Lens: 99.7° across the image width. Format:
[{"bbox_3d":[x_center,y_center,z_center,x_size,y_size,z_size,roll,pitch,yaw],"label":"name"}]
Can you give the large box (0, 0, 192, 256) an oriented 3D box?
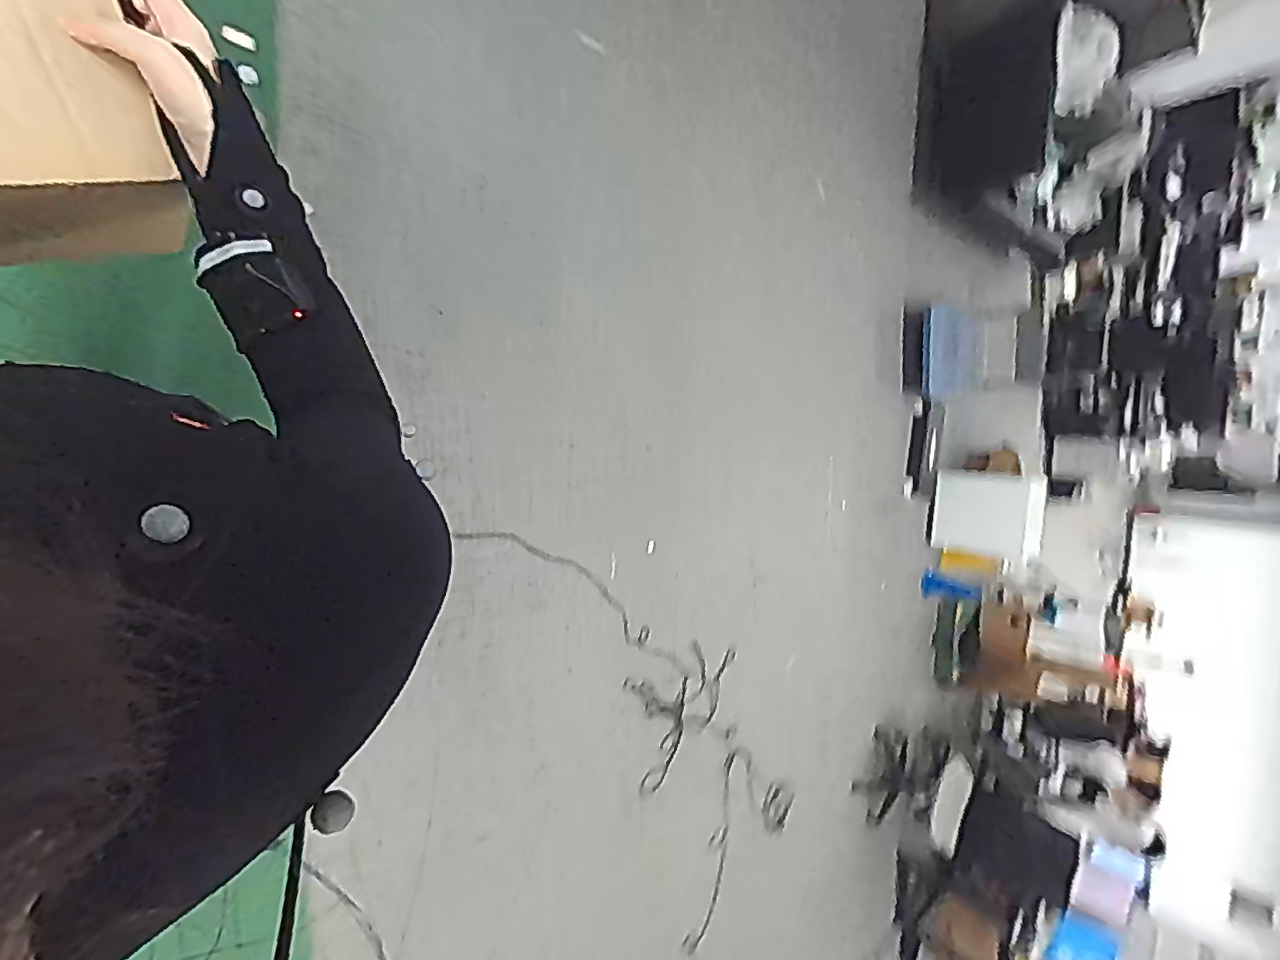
[{"bbox_3d":[-0.599,-0.319,0.348,0.408,0.320,0.320,-24,113,-35],"label":"large box"}]
